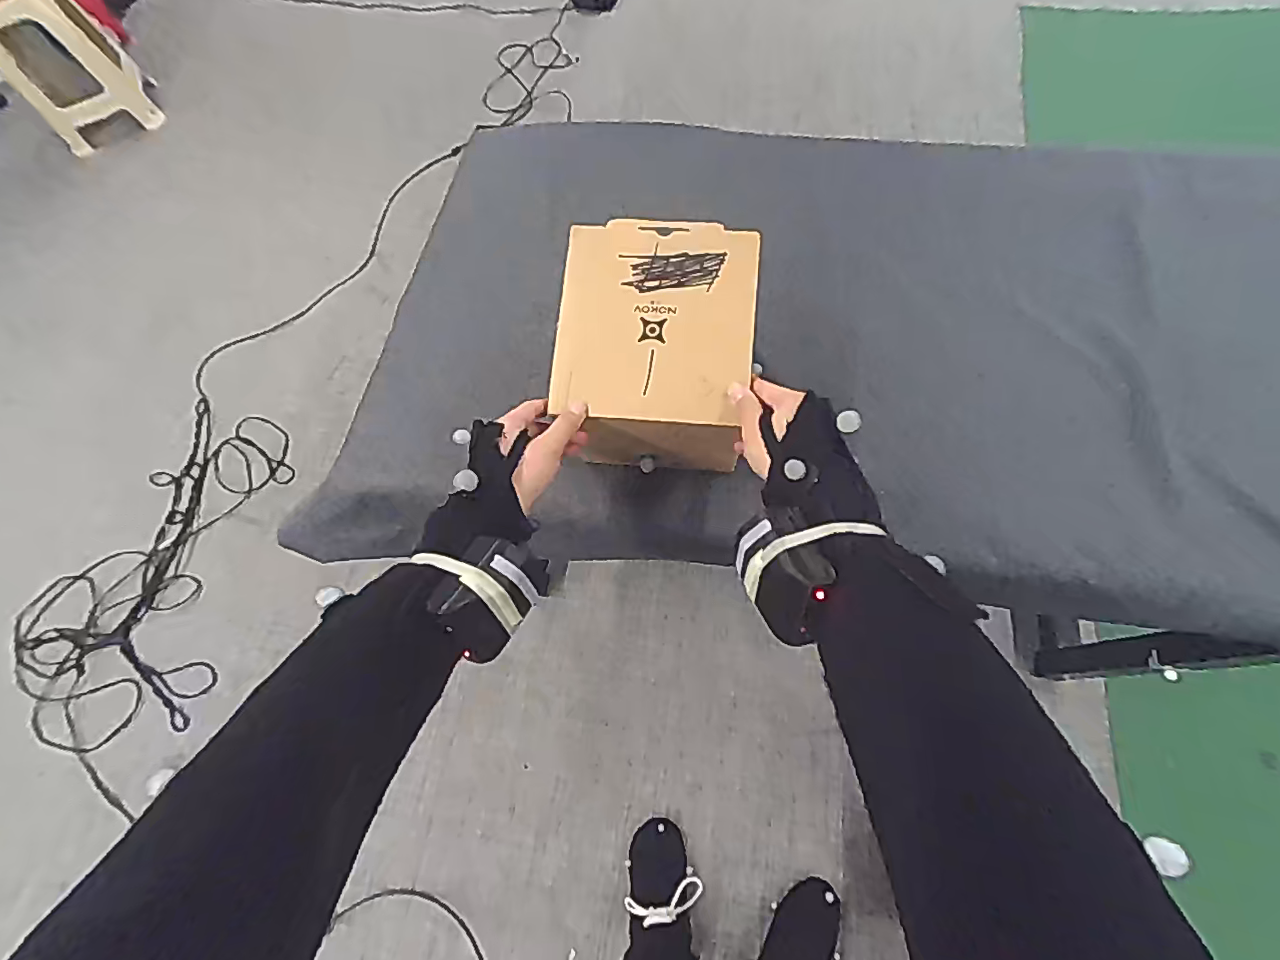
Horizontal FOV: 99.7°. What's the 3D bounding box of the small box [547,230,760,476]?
[{"bbox_3d":[0.019,-0.112,0.525,0.168,0.176,0.179,4,79,7],"label":"small box"}]
